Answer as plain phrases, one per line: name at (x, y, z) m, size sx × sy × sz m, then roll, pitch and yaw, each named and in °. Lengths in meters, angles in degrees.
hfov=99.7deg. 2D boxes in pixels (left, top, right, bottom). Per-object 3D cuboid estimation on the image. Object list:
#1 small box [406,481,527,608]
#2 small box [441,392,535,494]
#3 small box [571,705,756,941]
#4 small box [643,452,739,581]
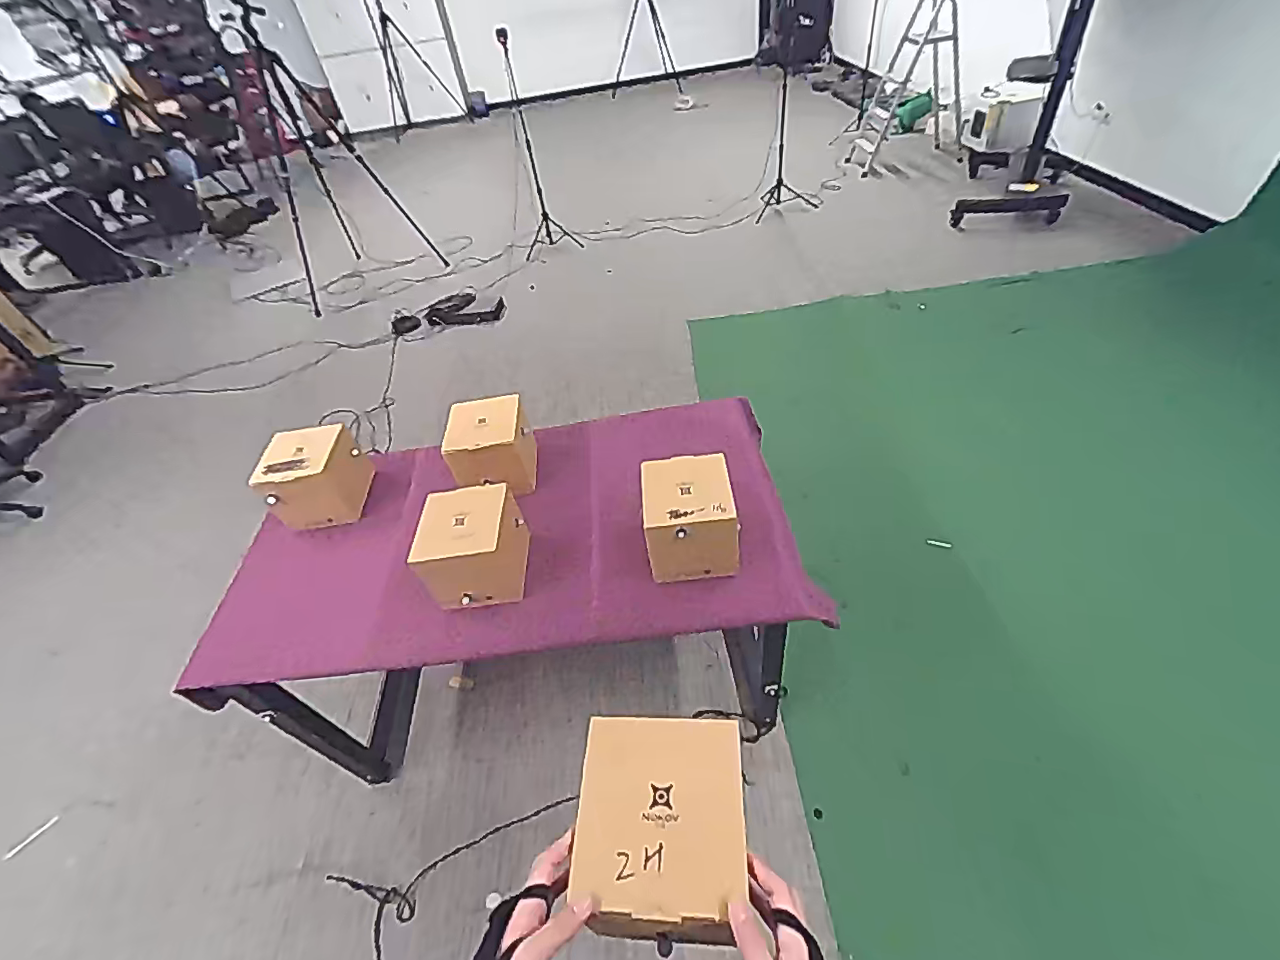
small box at (-0.328, 0.128, 1.066) m, size 0.168 × 0.176 × 0.179 m, roll -8°, pitch 44°, yaw 3°
small box at (-0.349, -0.080, 1.277) m, size 0.168 × 0.176 × 0.179 m, roll -9°, pitch 46°, yaw 0°
small box at (0.033, 0.367, 0.584) m, size 0.168 × 0.176 × 0.179 m, roll -2°, pitch 44°, yaw 8°
small box at (0.097, 0.071, 1.047) m, size 0.168 × 0.176 × 0.179 m, roll -7°, pitch 43°, yaw 5°
